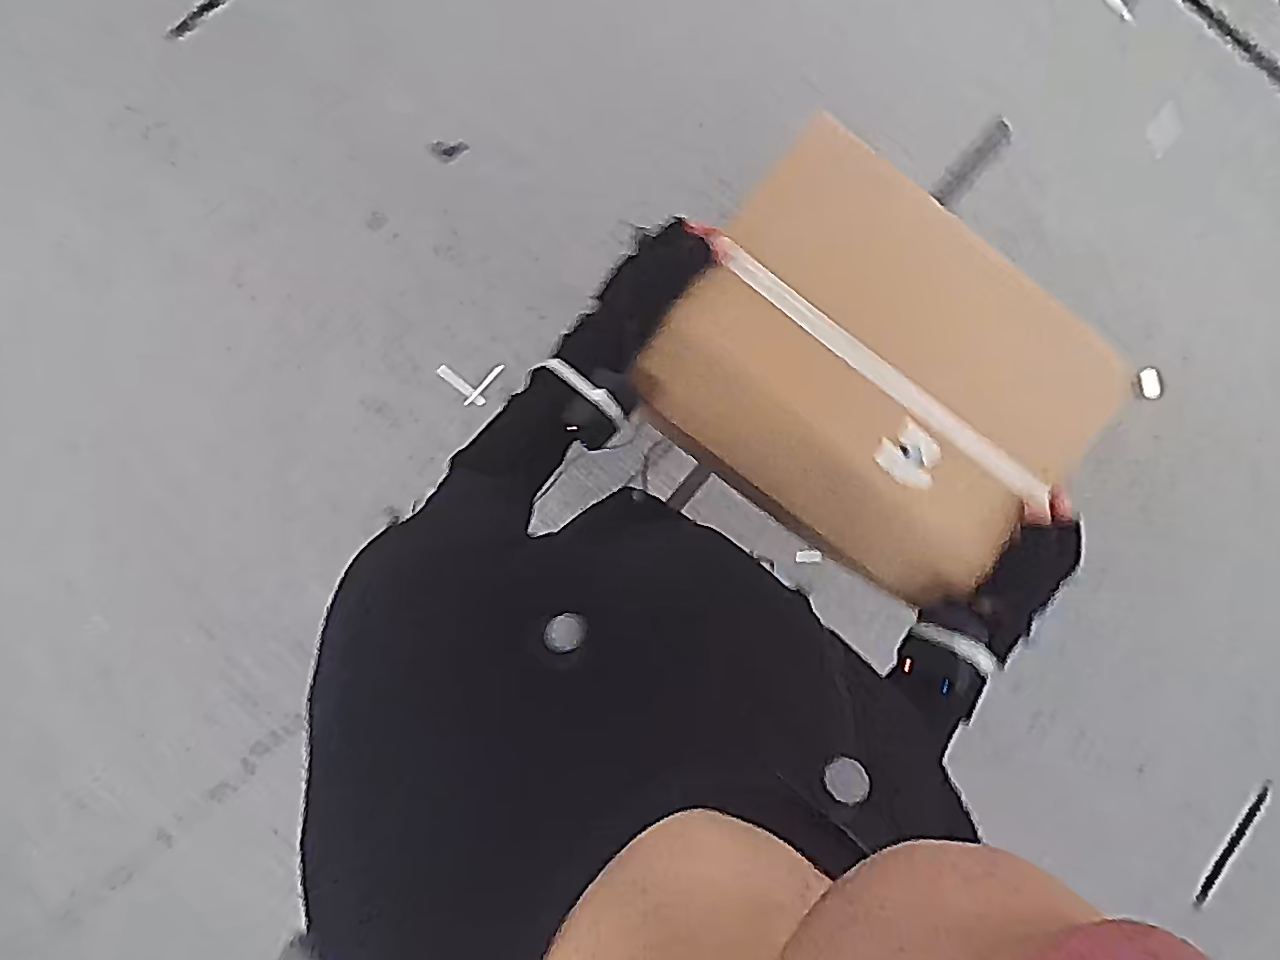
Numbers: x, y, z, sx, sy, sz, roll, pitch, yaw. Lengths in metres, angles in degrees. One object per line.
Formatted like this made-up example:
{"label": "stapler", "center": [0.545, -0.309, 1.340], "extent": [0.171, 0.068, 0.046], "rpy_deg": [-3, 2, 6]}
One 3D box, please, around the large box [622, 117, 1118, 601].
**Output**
{"label": "large box", "center": [0.224, -0.122, 0.678], "extent": [0.408, 0.320, 0.320], "rpy_deg": [36, 93, -5]}
